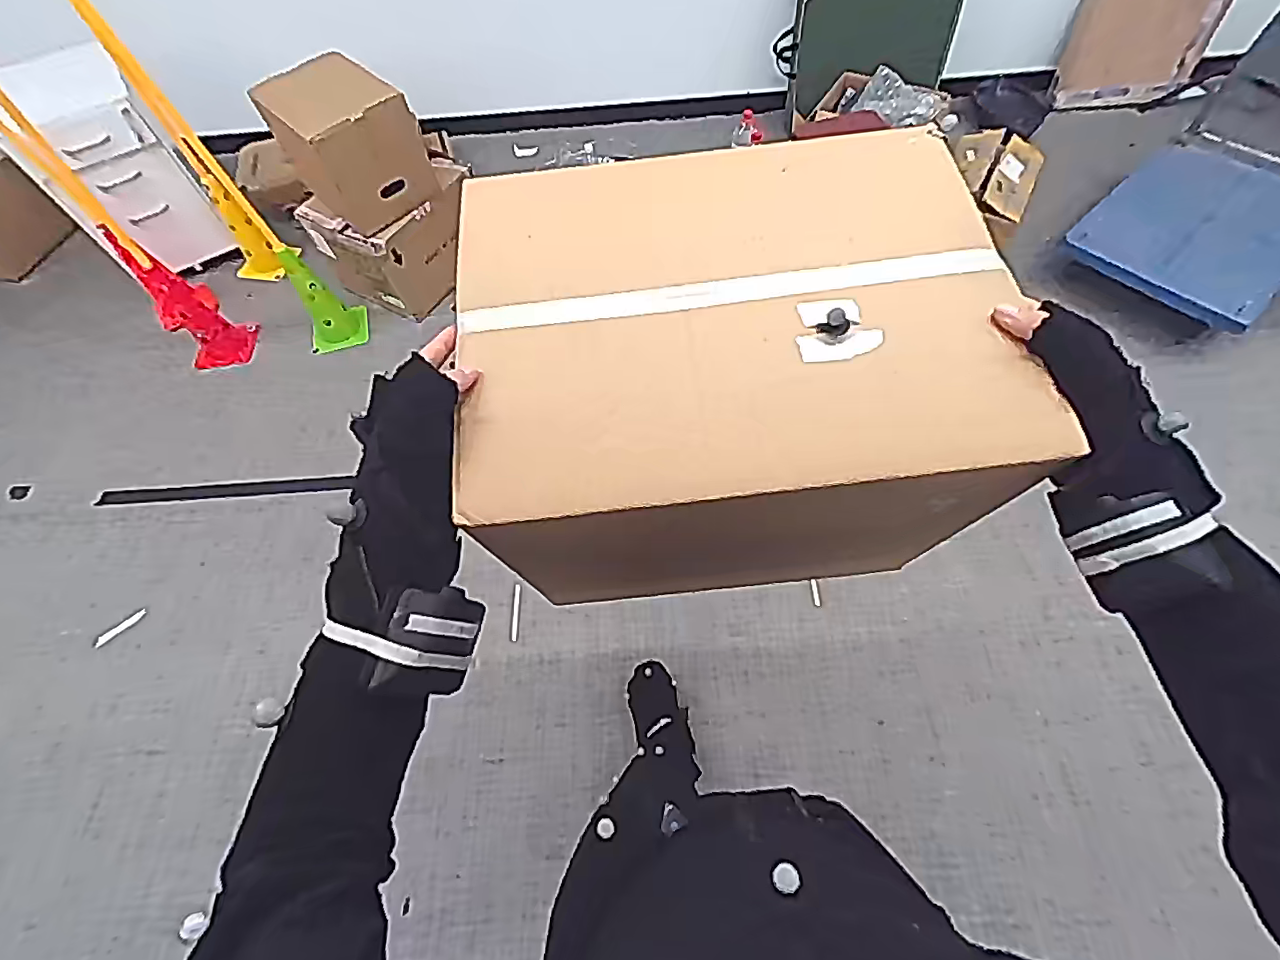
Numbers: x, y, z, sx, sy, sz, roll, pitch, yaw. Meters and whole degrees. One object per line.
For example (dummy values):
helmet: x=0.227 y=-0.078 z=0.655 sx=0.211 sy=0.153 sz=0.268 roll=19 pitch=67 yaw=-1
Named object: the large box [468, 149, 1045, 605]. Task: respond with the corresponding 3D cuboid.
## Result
large box: x=0.069 y=-0.075 z=0.559 sx=0.408 sy=0.320 sz=0.320 roll=-7 pitch=67 yaw=0
